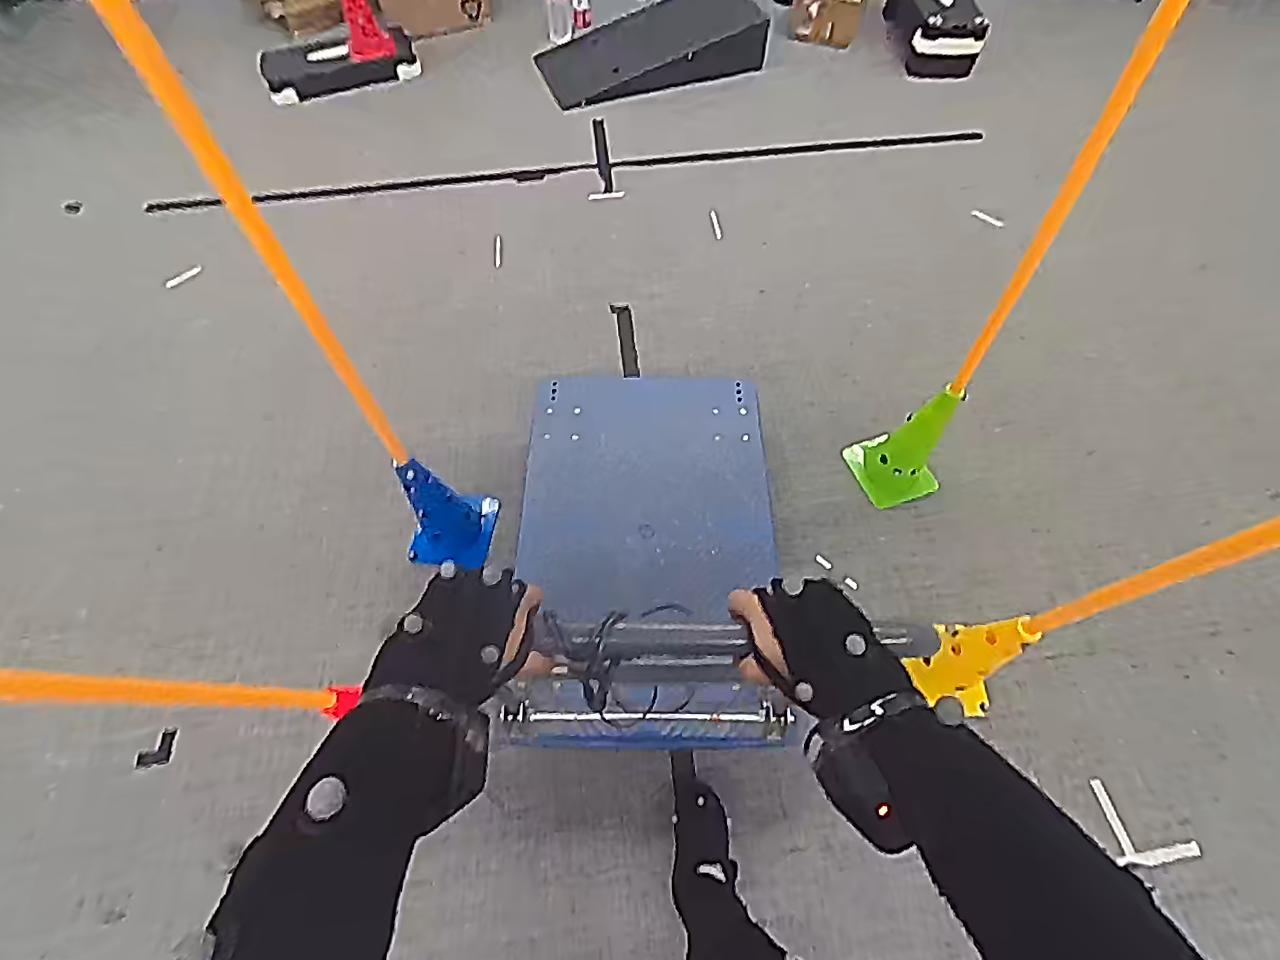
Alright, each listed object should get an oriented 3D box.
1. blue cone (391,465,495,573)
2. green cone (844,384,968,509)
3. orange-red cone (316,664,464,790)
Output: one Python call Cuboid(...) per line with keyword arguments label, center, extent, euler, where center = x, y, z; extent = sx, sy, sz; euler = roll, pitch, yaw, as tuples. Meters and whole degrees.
Cuboid(label="blue cone", center=(-0.481, 0.064, 1.253), extent=(0.193, 0.380, 0.192), euler=(7, 62, 4))
Cuboid(label="green cone", center=(0.685, -0.111, 1.326), extent=(0.200, 0.368, 0.202), euler=(-19, 64, -10))
Cuboid(label="orange-red cone", center=(-0.506, 0.443, 1.024), extent=(0.198, 0.360, 0.199), euler=(35, 65, 17))
